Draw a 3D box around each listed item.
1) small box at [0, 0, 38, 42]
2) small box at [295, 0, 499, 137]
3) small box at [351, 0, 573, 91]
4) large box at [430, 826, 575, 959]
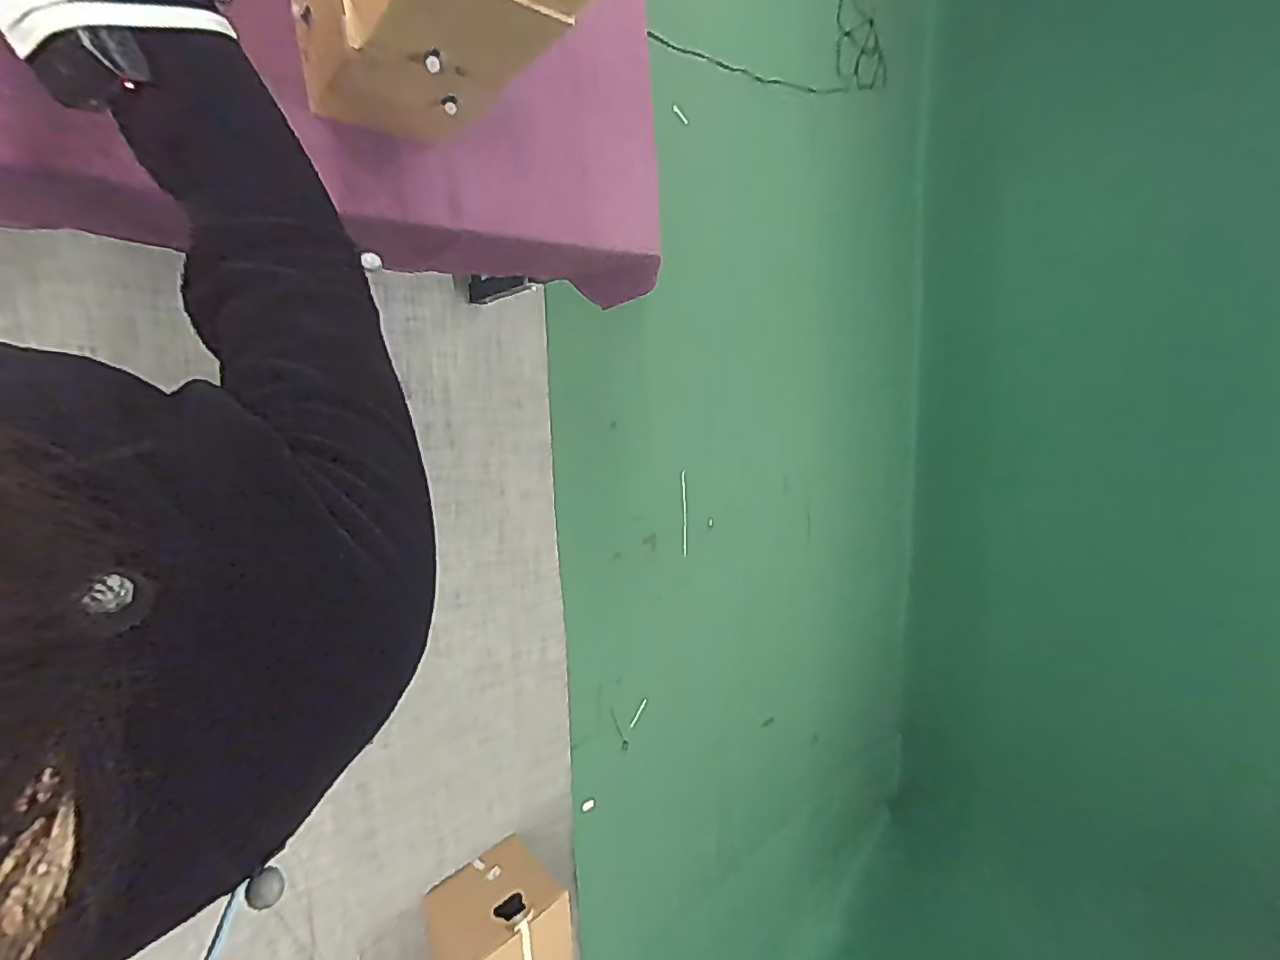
[{"bbox_3d":[-0.591,-0.488,0.401,0.168,0.176,0.179,-12,103,-42],"label":"small box"},{"bbox_3d":[-0.300,-0.553,0.665,0.179,0.176,0.168,-14,104,-41],"label":"small box"},{"bbox_3d":[-0.190,-0.543,0.545,0.168,0.176,0.179,-15,105,-40],"label":"small box"},{"bbox_3d":[-0.424,1.414,1.687,0.320,0.320,0.408,-12,104,-42],"label":"large box"}]
